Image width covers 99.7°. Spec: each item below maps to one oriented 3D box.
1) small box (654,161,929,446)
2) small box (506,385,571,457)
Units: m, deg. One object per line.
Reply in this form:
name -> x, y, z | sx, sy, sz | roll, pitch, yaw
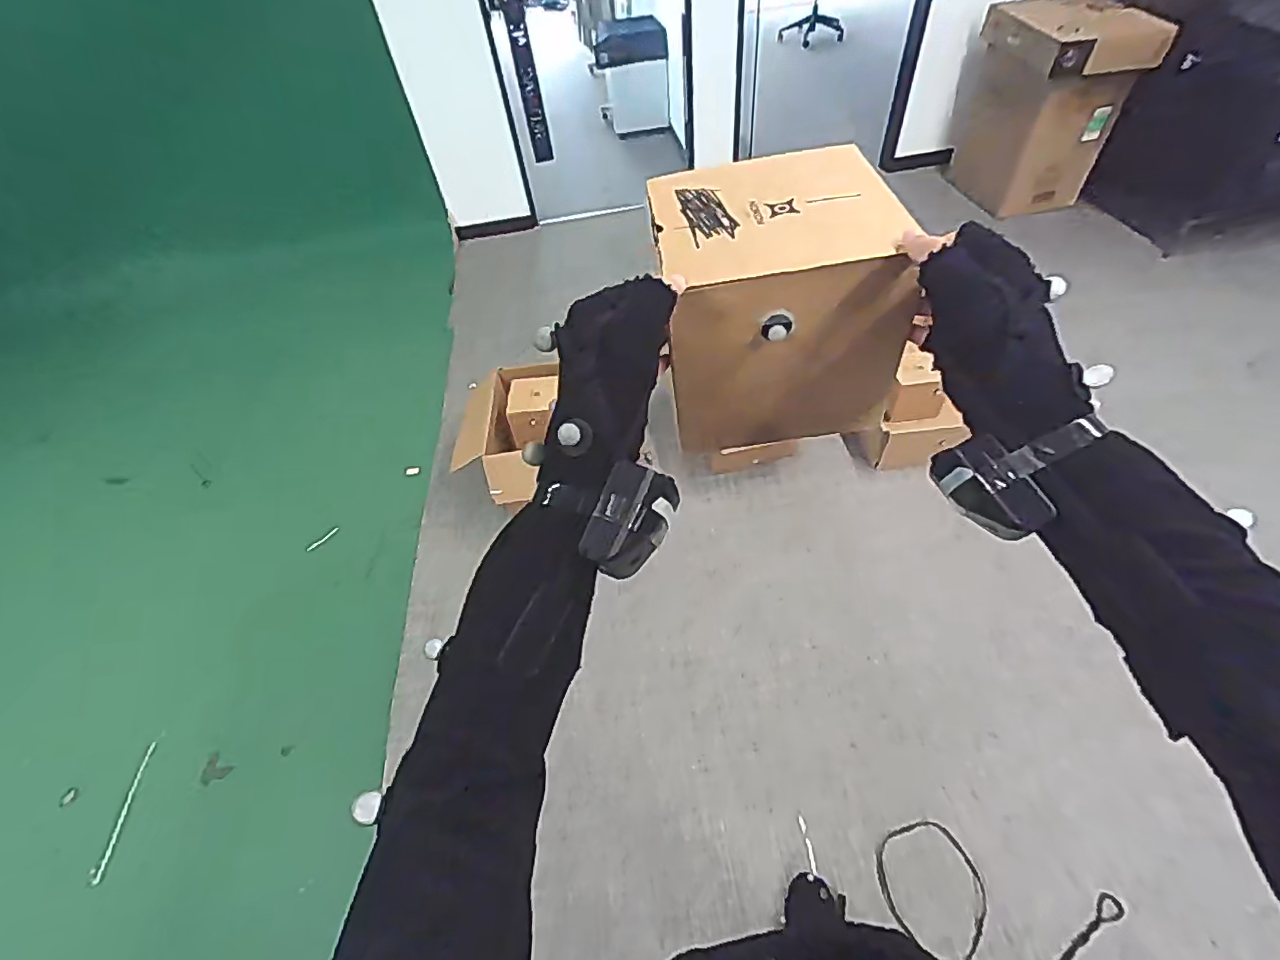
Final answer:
small box -> 0.114, -0.146, 0.474 | 0.179, 0.176, 0.168 | -8, 51, 3
small box -> -0.329, -0.193, 1.790 | 0.179, 0.176, 0.168 | -5, 48, 1
